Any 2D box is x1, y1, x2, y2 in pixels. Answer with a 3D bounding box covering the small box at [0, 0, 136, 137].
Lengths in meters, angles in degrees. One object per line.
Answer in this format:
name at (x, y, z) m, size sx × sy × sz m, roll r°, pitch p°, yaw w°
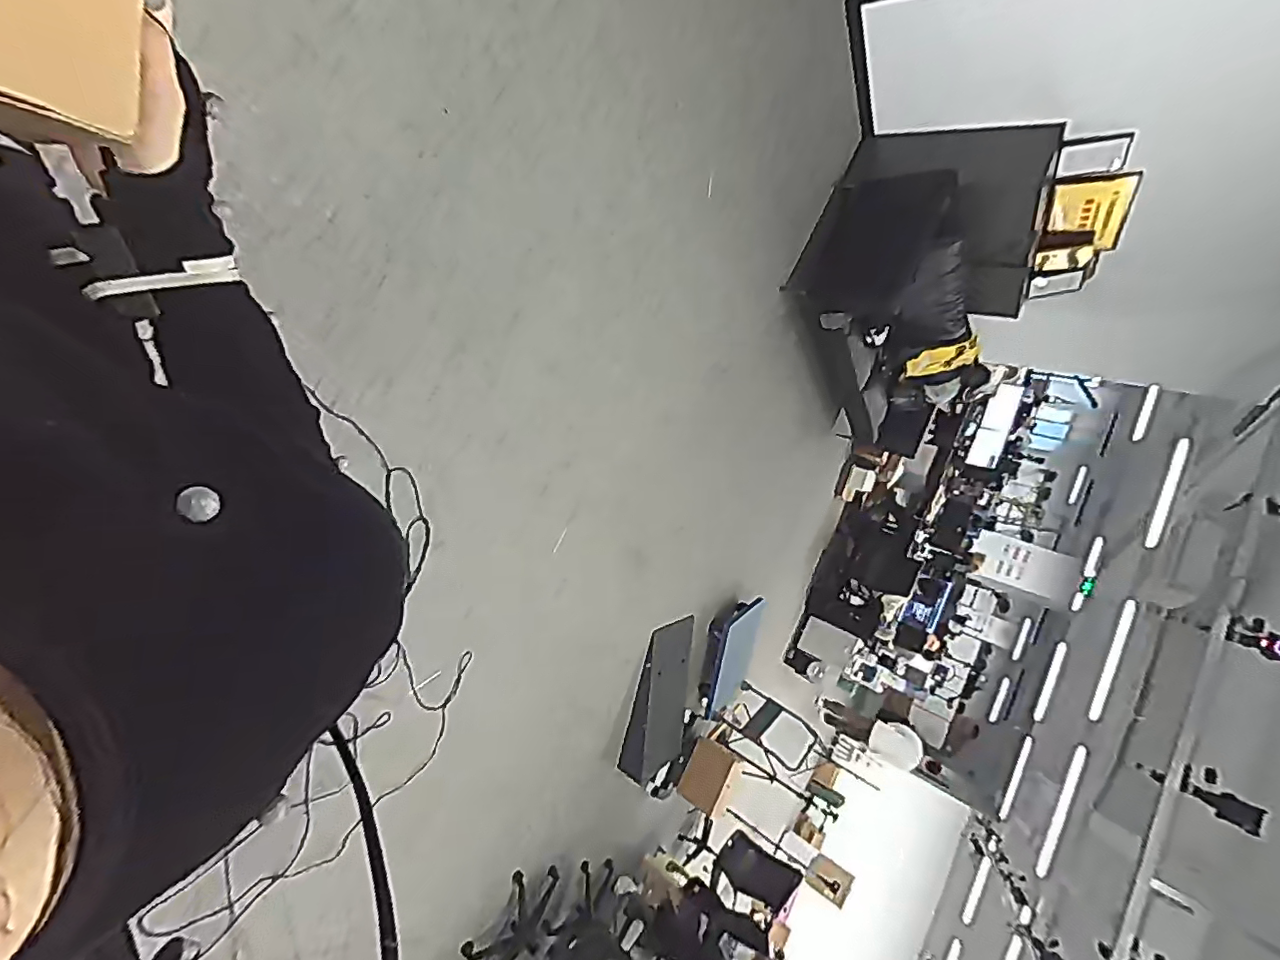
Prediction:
small box at (-0.342, -0.274, 0.219) m, size 0.168 × 0.176 × 0.179 m, roll -7°, pitch 115°, yaw -60°
